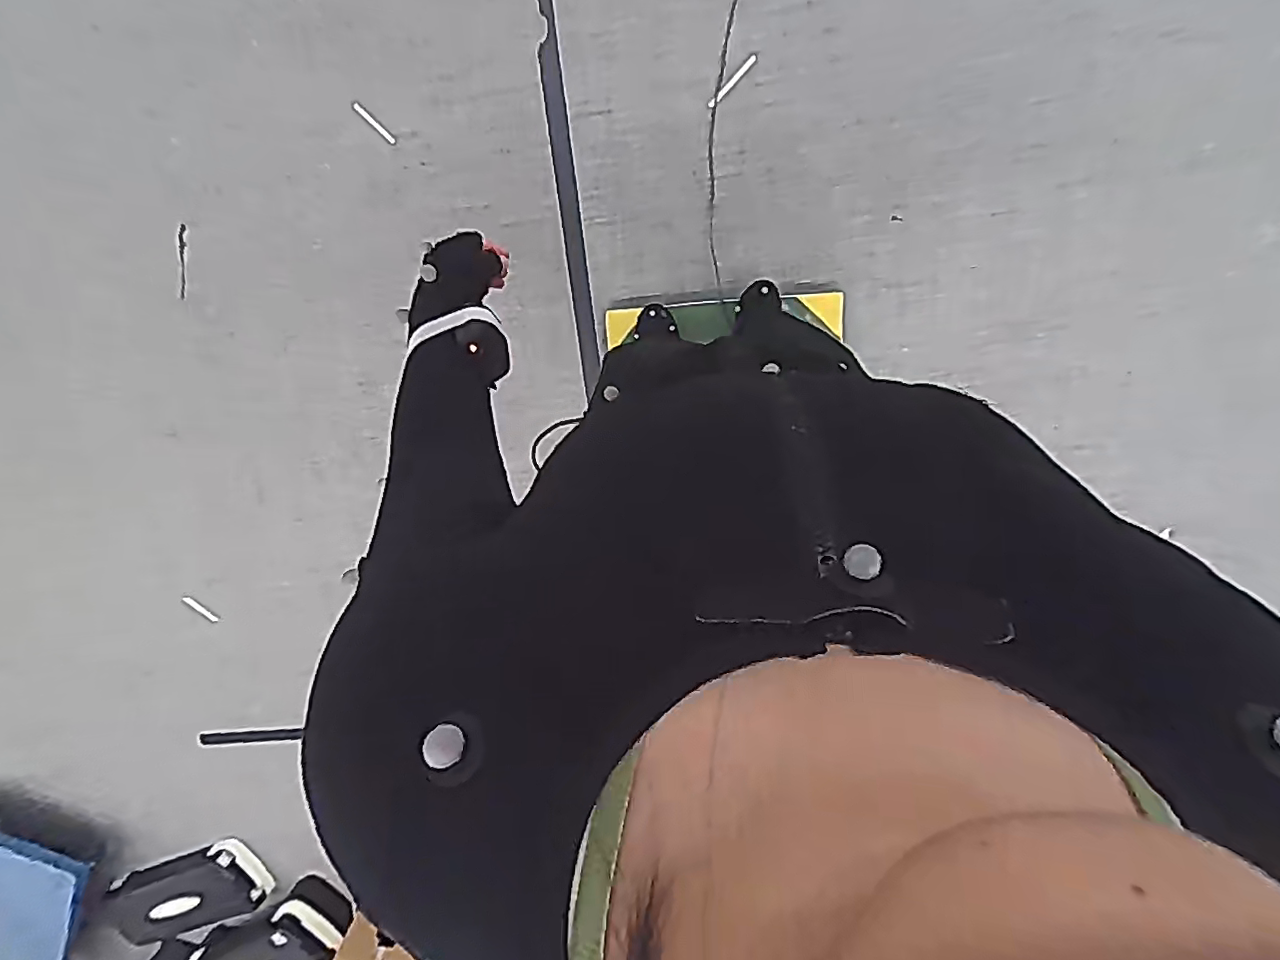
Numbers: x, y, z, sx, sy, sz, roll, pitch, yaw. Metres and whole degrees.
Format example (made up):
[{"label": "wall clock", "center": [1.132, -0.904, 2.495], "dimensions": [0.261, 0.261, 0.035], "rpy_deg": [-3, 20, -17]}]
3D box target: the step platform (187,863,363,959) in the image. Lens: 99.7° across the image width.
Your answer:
[{"label": "step platform", "center": [-1.463, 1.816, 2.155], "dimensions": [0.684, 0.204, 0.286], "rpy_deg": [-34, 104, 12]}]
